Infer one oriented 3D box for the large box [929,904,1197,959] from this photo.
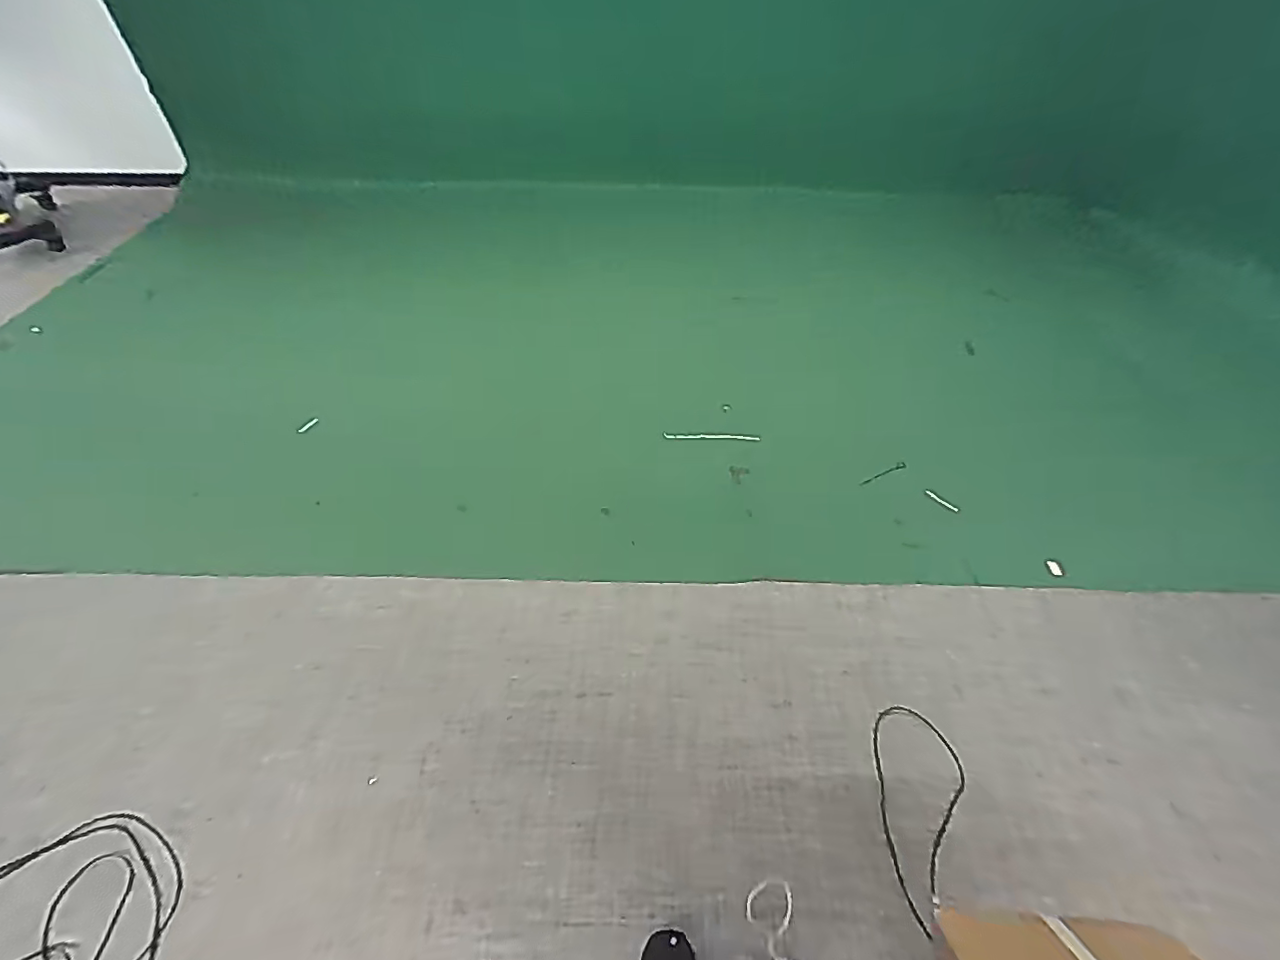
[{"bbox_3d":[0.551,0.756,0.568,0.320,0.408,0.320,1,85,8],"label":"large box"}]
